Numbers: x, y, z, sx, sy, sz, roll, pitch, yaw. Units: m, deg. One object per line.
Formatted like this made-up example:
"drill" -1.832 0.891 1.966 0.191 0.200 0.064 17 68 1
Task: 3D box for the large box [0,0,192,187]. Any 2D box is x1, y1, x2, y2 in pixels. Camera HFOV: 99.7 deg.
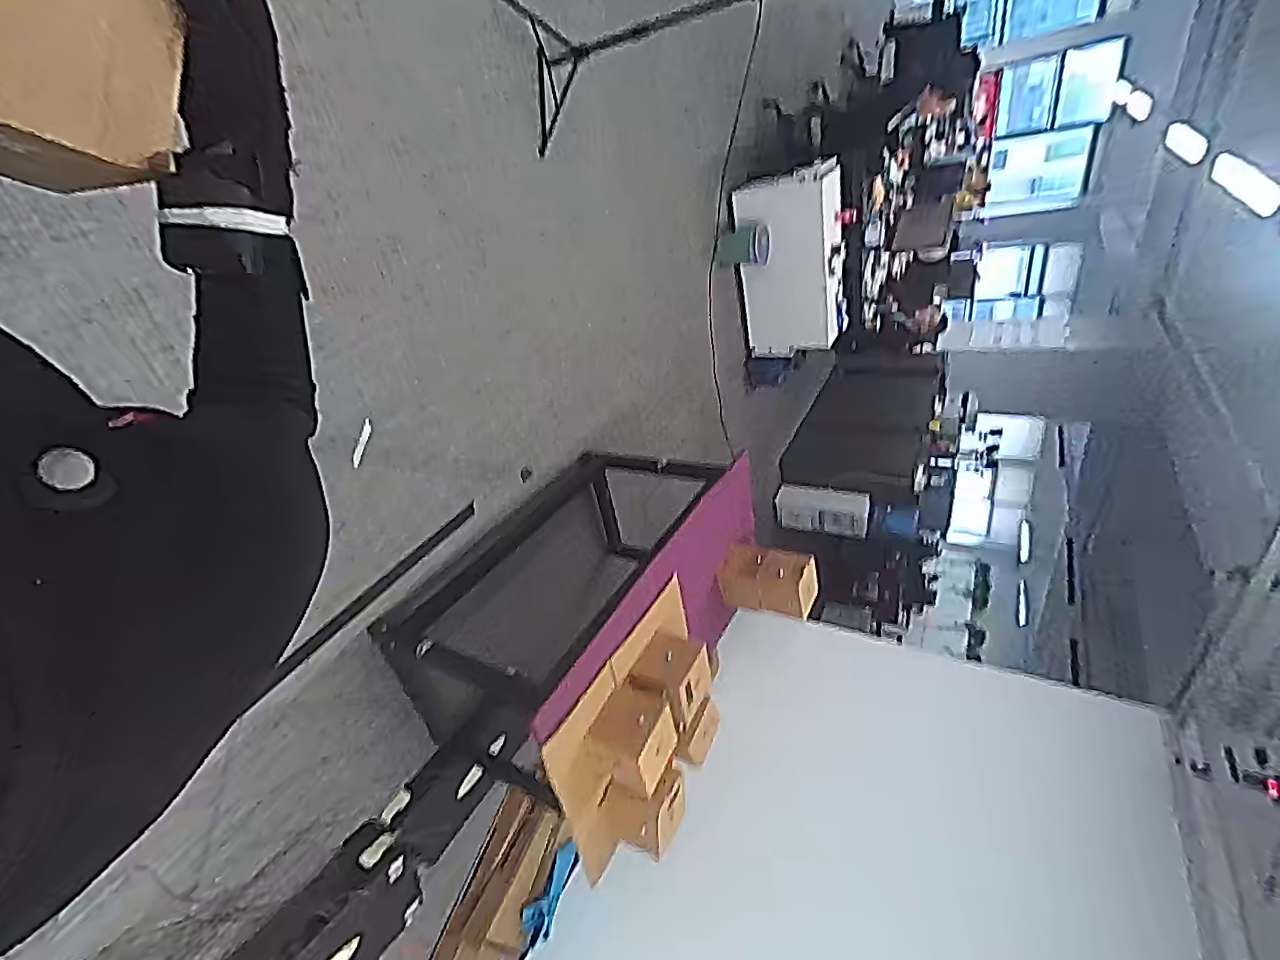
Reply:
"large box" -0.534 -0.404 0.284 0.408 0.320 0.320 2 104 -57
